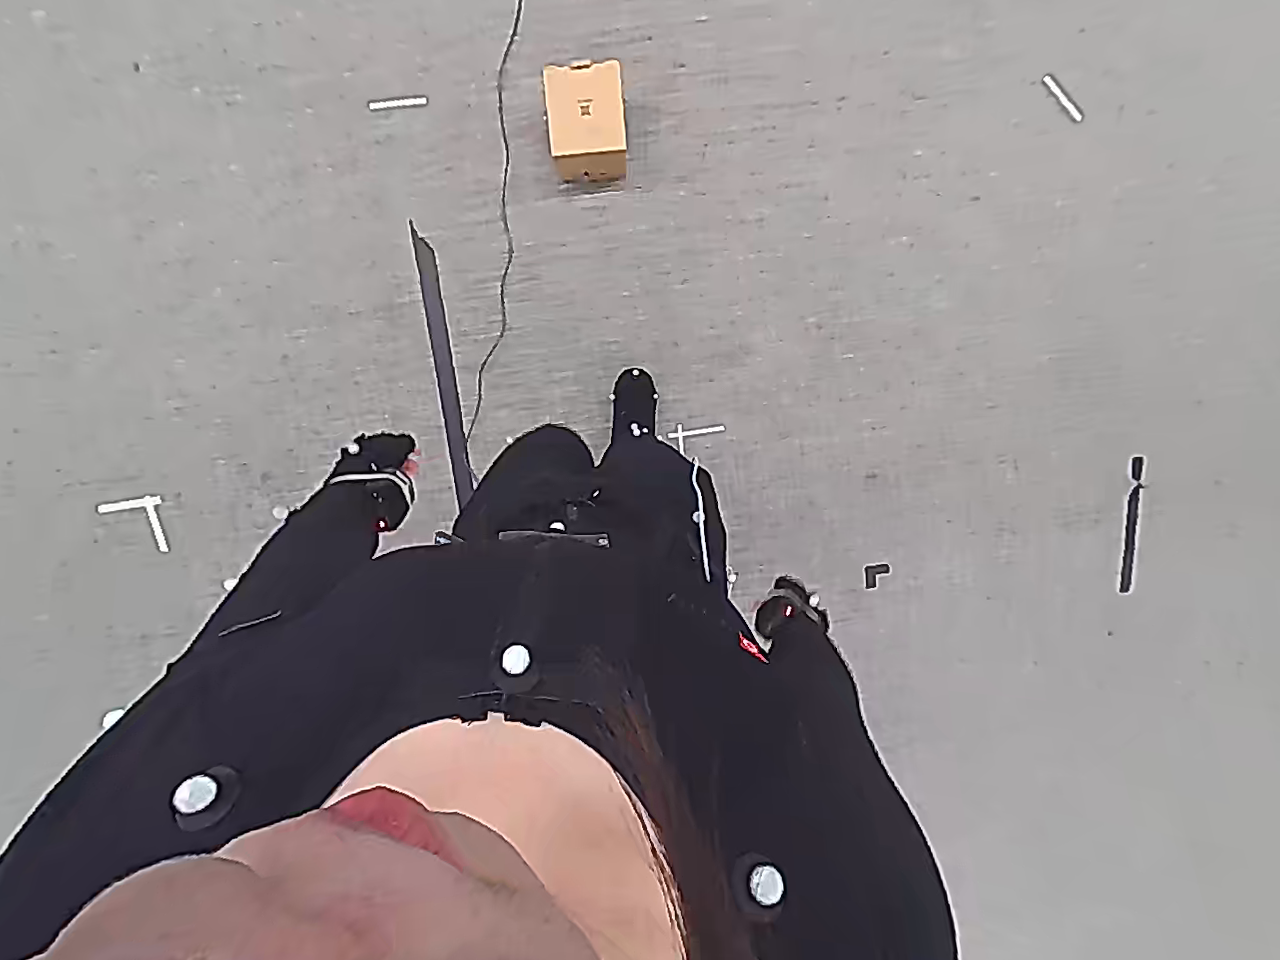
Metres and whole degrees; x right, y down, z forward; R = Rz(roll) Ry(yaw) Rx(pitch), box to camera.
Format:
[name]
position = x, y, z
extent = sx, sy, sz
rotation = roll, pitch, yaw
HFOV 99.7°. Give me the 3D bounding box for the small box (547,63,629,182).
[small box]
position = -0.114, -0.808, 1.236
extent = 0.168, 0.176, 0.179
rotation = -4, 102, 1
